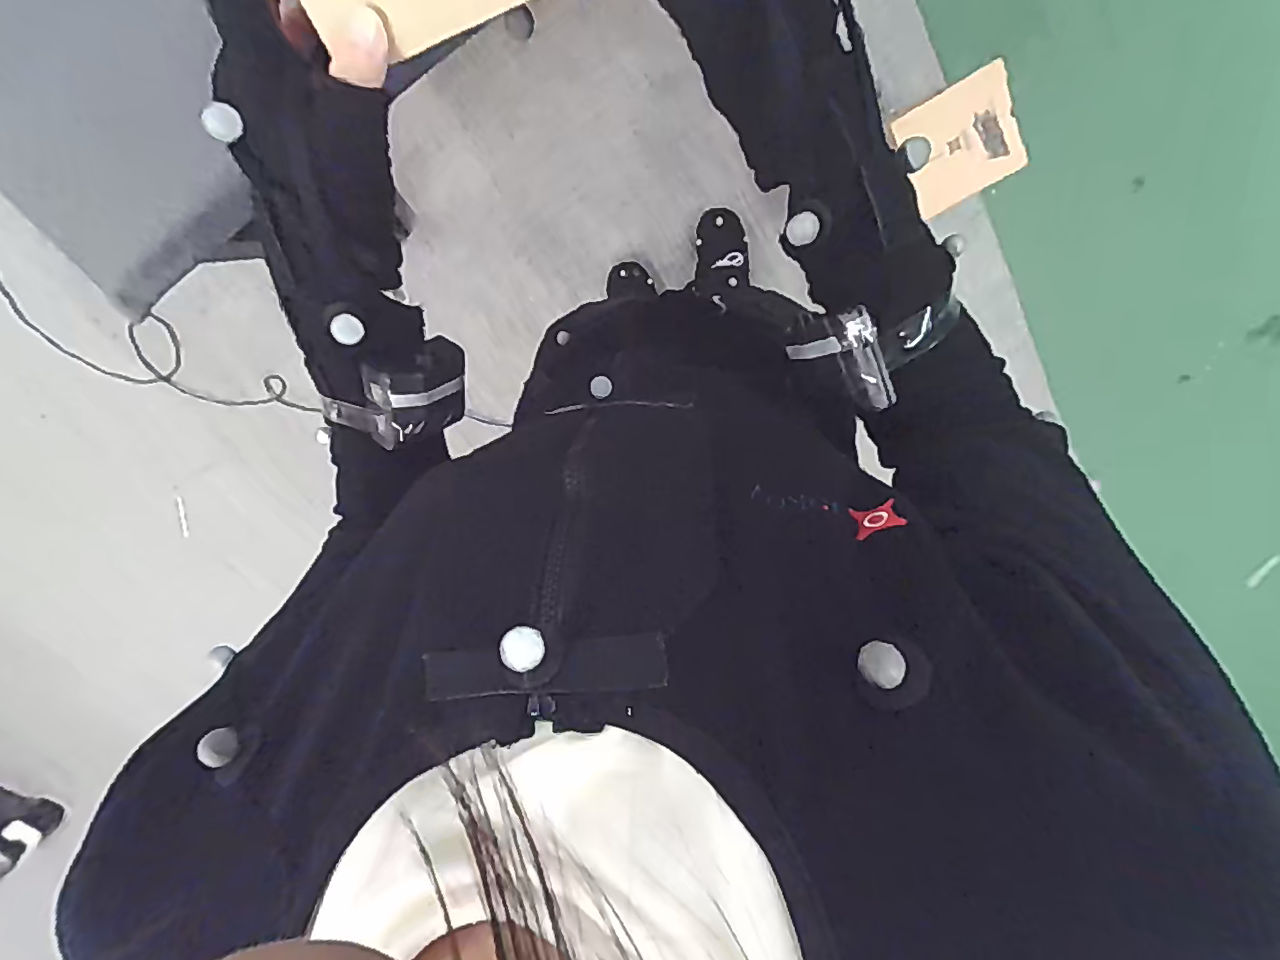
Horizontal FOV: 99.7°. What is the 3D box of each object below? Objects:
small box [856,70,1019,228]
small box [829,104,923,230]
[{"bbox_3d":[0.510,-0.565,0.947,0.179,0.176,0.168,-26,110,14],"label":"small box"},{"bbox_3d":[0.513,-0.631,1.098,0.179,0.176,0.168,-26,110,15],"label":"small box"}]
